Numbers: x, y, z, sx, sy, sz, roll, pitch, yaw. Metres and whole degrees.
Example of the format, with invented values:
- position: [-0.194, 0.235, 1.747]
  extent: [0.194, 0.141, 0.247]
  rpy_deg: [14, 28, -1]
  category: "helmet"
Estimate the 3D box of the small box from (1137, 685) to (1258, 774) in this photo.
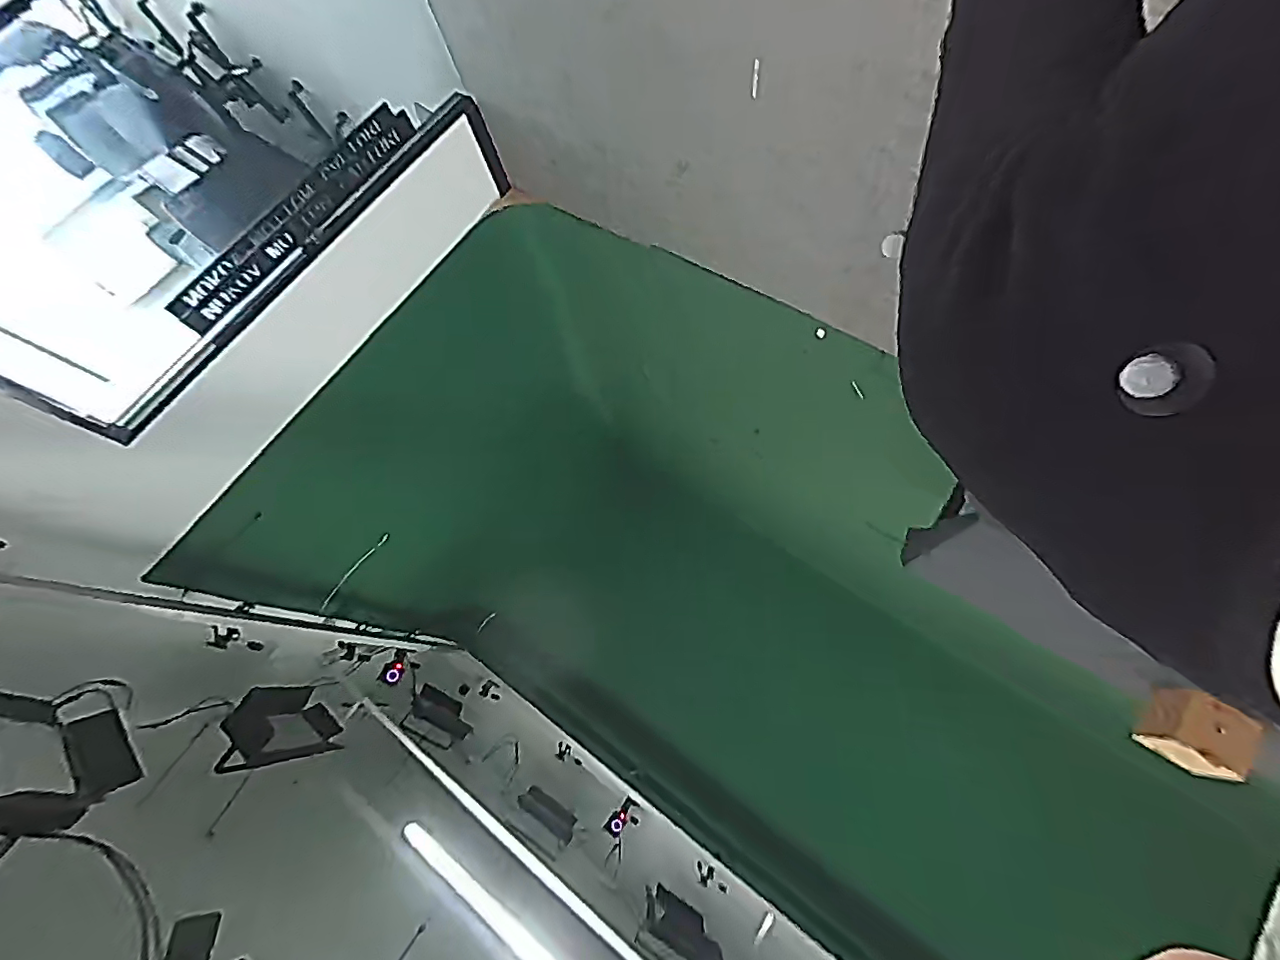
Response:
- position: [1.581, 0.701, 1.533]
  extent: [0.168, 0.176, 0.179]
  rpy_deg: [29, 165, 21]
  category: "small box"
